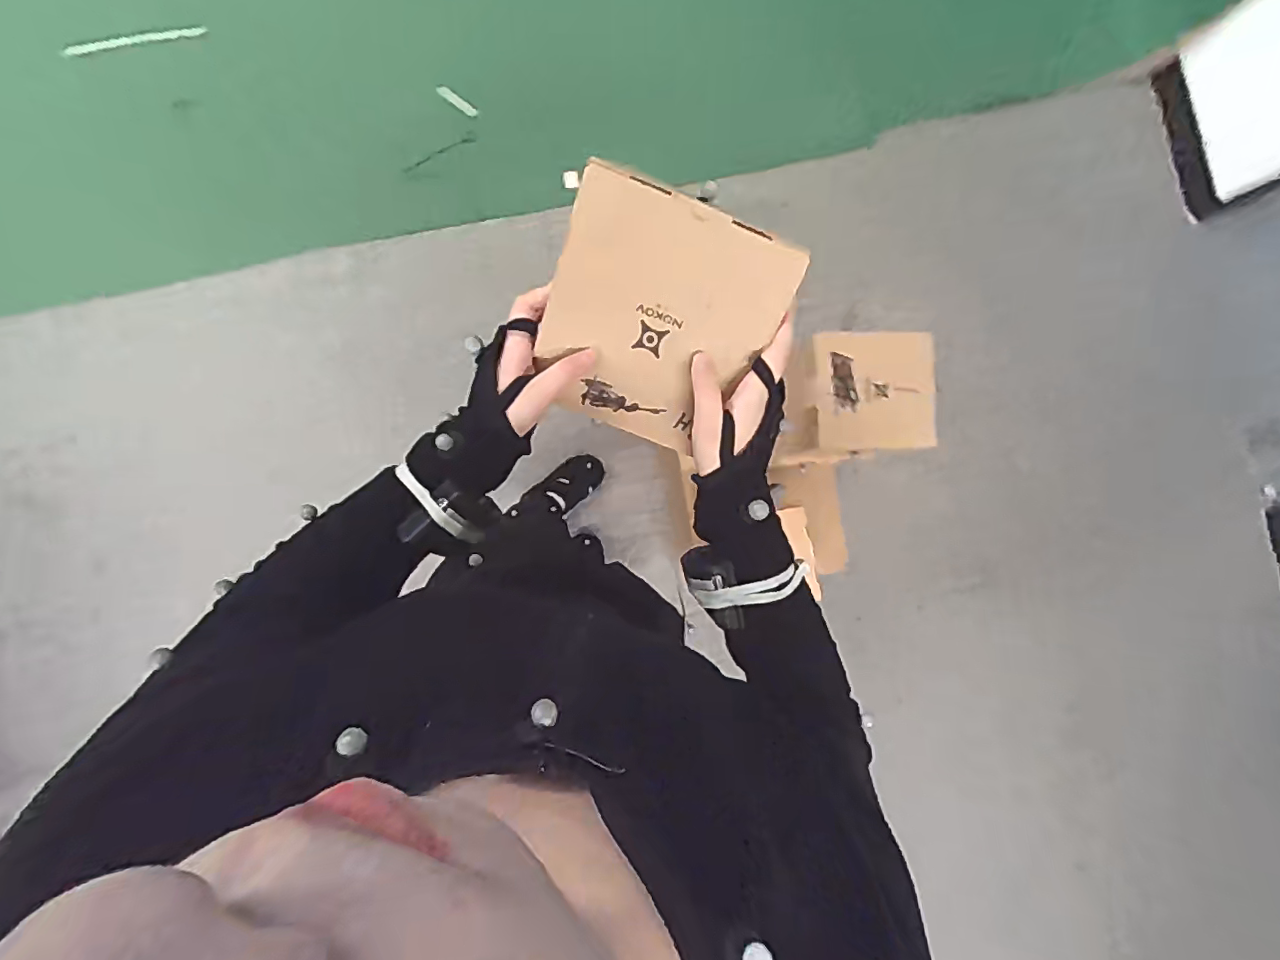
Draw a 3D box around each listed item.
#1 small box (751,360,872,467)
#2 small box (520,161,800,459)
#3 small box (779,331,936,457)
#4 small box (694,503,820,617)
[{"bbox_3d":[0.307,-0.117,0.998,0.168,0.176,0.179,-2,90,-4],"label":"small box"},{"bbox_3d":[0.014,-0.152,0.474,0.168,0.176,0.179,21,119,-4],"label":"small box"},{"bbox_3d":[0.322,-0.123,0.834,0.179,0.176,0.168,-1,89,-6],"label":"small box"},{"bbox_3d":[0.201,0.137,0.986,0.179,0.176,0.168,-10,90,-4],"label":"small box"}]
